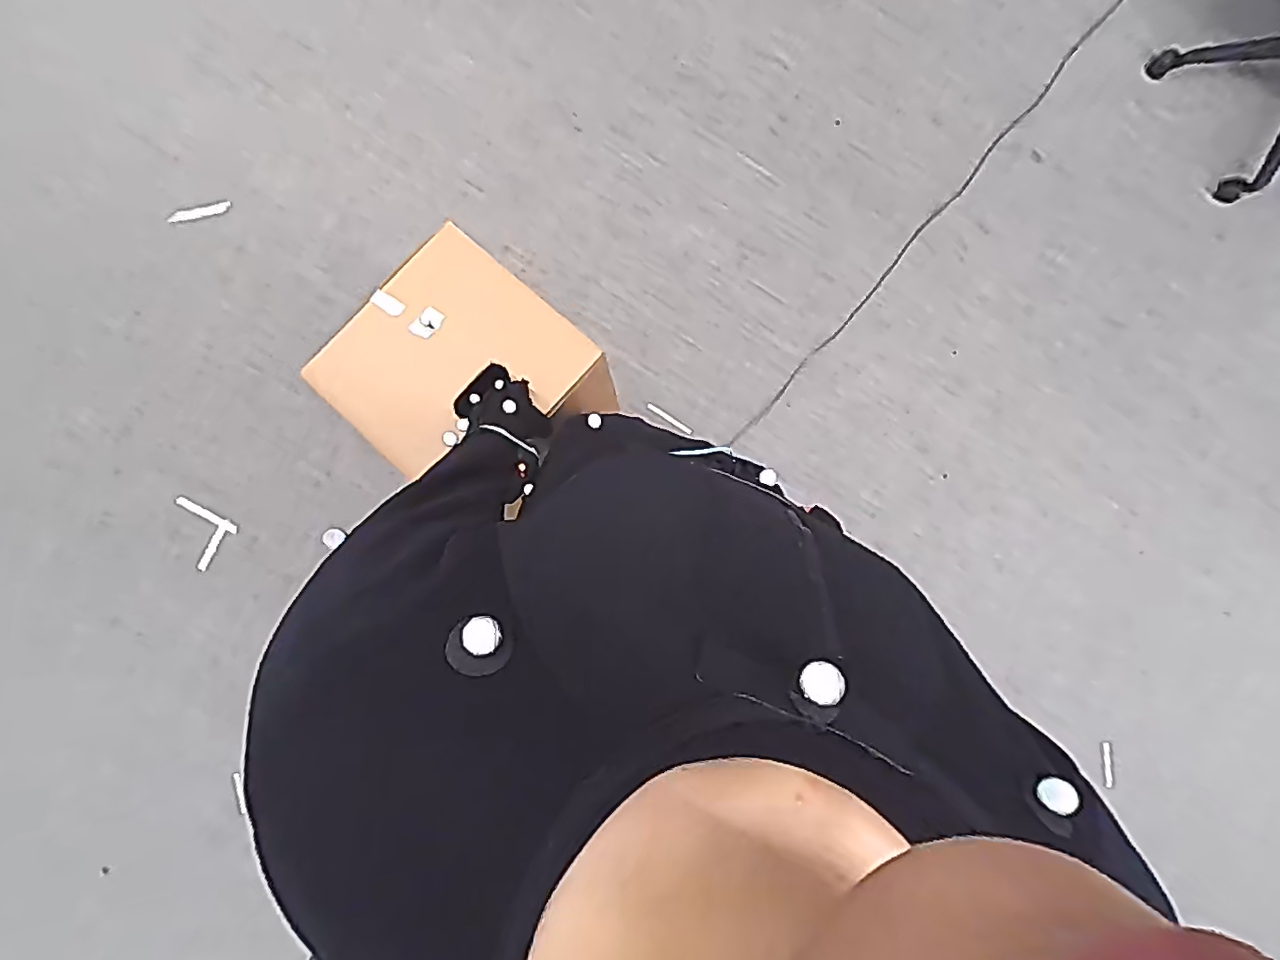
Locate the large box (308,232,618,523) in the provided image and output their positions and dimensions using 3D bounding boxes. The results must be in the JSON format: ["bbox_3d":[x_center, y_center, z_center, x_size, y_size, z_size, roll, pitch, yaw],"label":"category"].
[{"bbox_3d":[-0.268,-0.143,0.967,0.320,0.408,0.320,42,86,7],"label":"large box"}]
